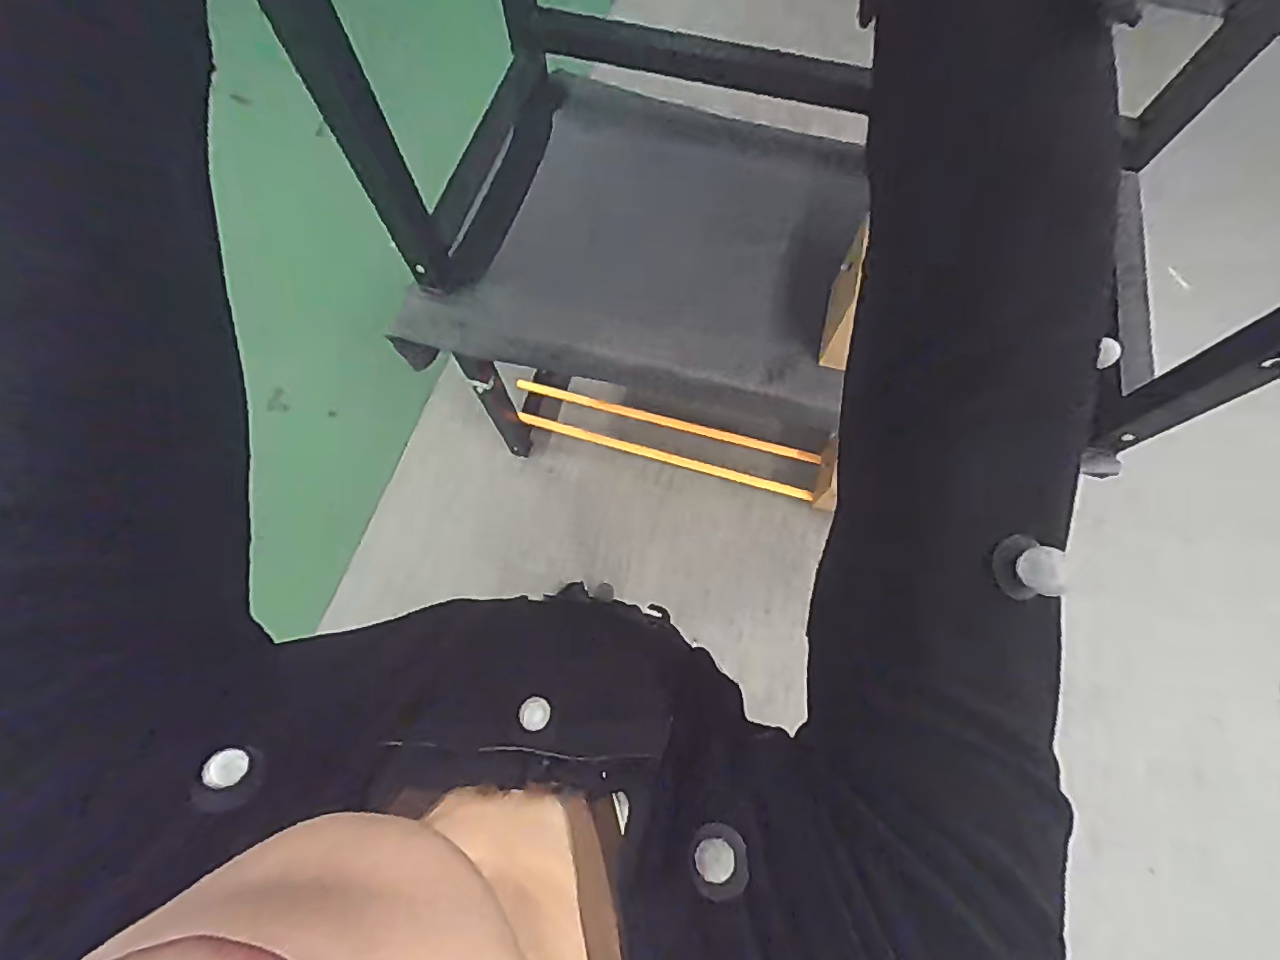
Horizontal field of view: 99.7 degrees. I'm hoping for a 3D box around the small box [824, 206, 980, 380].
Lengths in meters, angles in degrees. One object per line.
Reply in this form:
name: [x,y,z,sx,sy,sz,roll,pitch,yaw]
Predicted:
small box: [0.405,-0.289,0.856,0.168,0.176,0.179,14,69,6]
